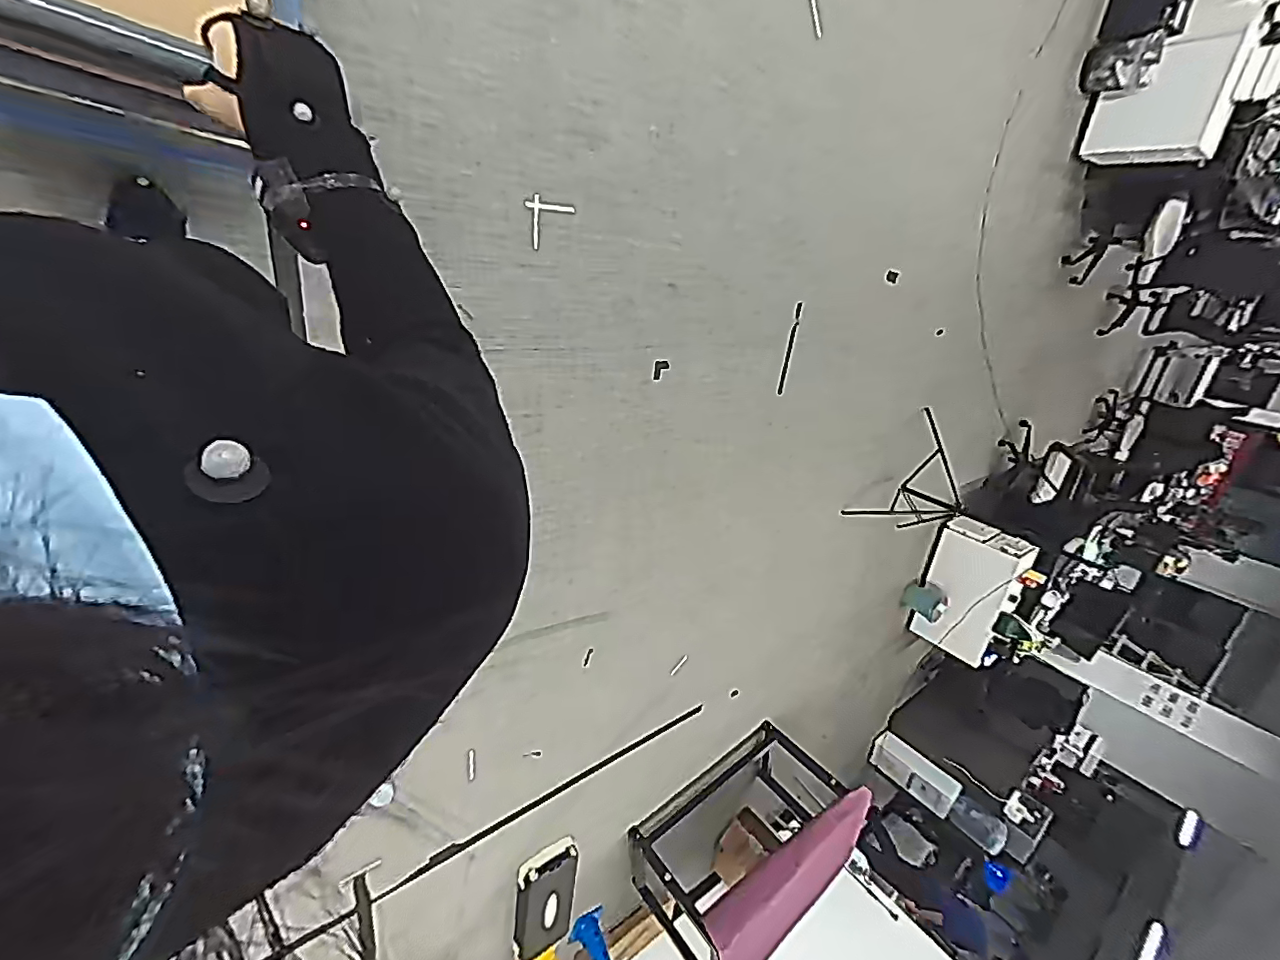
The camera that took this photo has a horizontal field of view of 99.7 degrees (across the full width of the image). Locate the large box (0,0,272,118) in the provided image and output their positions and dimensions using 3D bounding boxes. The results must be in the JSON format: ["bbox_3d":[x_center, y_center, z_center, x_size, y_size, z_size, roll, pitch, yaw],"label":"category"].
[{"bbox_3d":[-0.707,-0.689,0.645,0.408,0.320,0.320,-5,115,-41],"label":"large box"}]
